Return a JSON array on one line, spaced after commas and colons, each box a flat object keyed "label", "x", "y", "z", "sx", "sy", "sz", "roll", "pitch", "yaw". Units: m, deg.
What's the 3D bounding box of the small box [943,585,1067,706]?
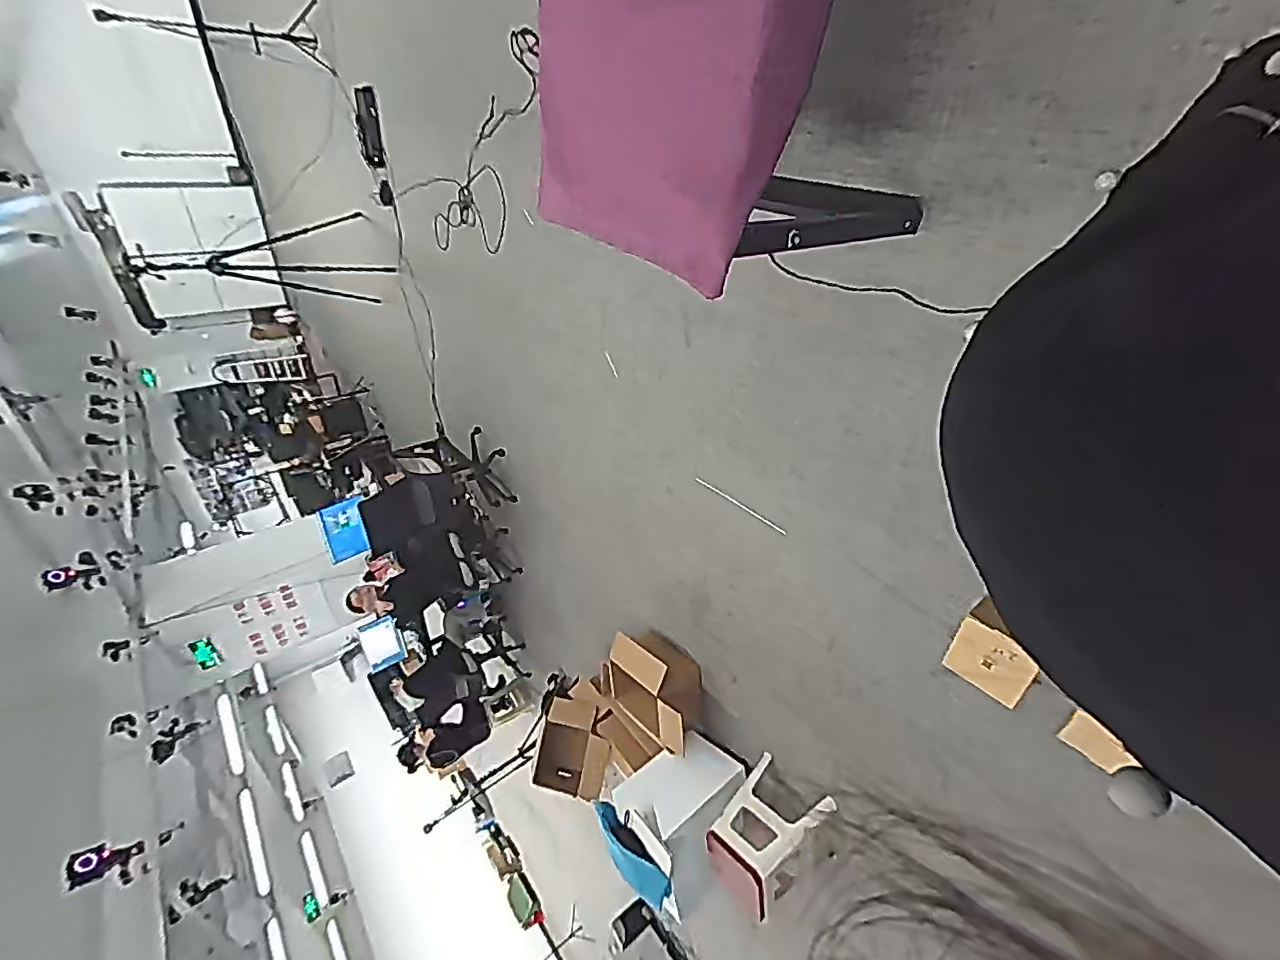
[{"label": "small box", "x": 0.860, "y": 0.383, "z": 1.275, "sx": 0.168, "sy": 0.176, "sz": 0.179, "roll": 35, "pitch": 135, "yaw": 39}]
